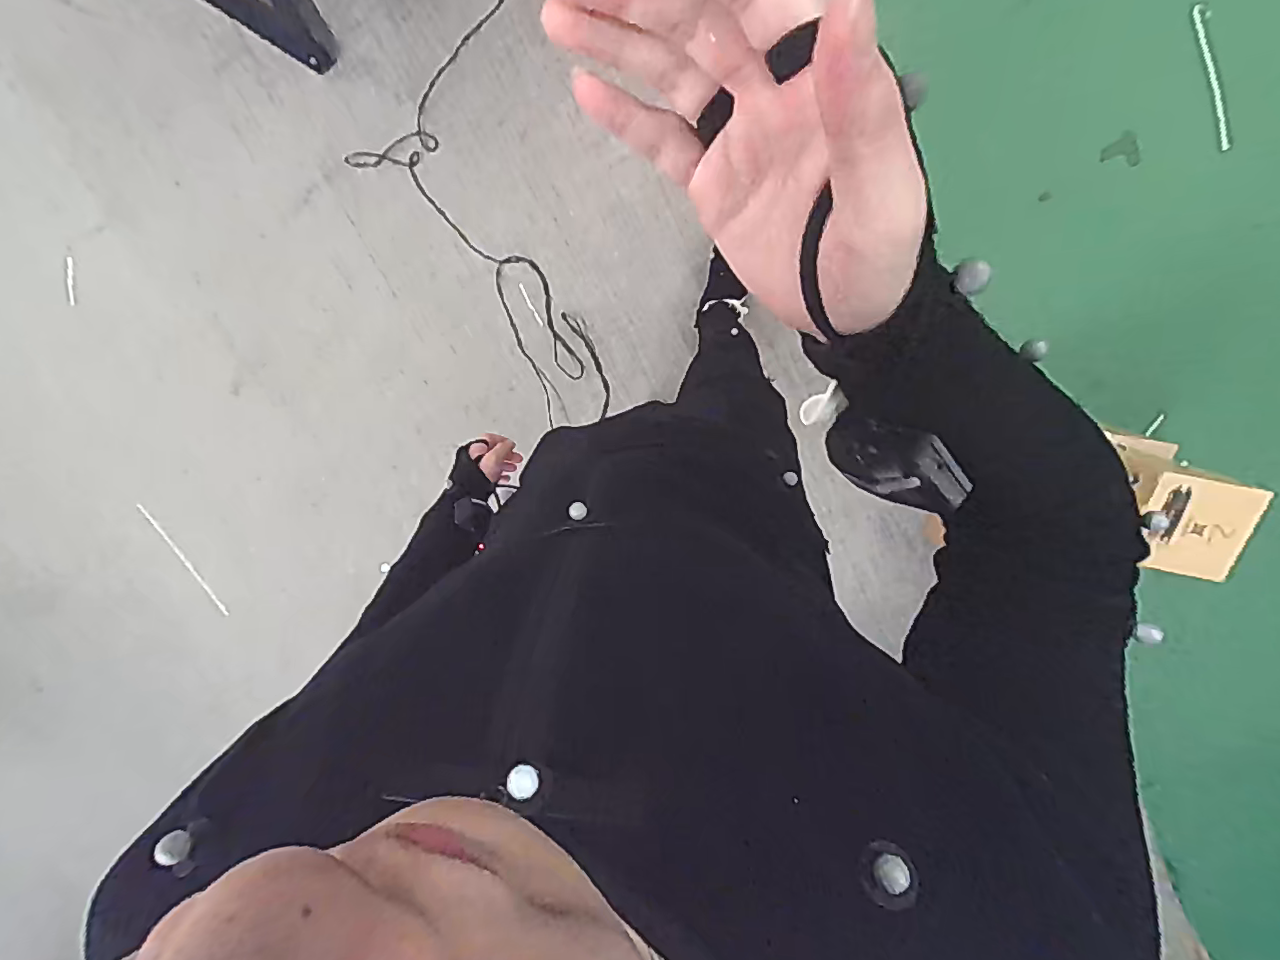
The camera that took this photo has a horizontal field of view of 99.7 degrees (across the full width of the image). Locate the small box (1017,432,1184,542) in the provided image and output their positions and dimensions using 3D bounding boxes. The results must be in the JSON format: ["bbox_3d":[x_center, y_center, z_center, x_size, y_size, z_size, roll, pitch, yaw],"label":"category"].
[{"bbox_3d":[0.937,0.006,1.124,0.179,0.176,0.168,13,109,1],"label":"small box"}]
